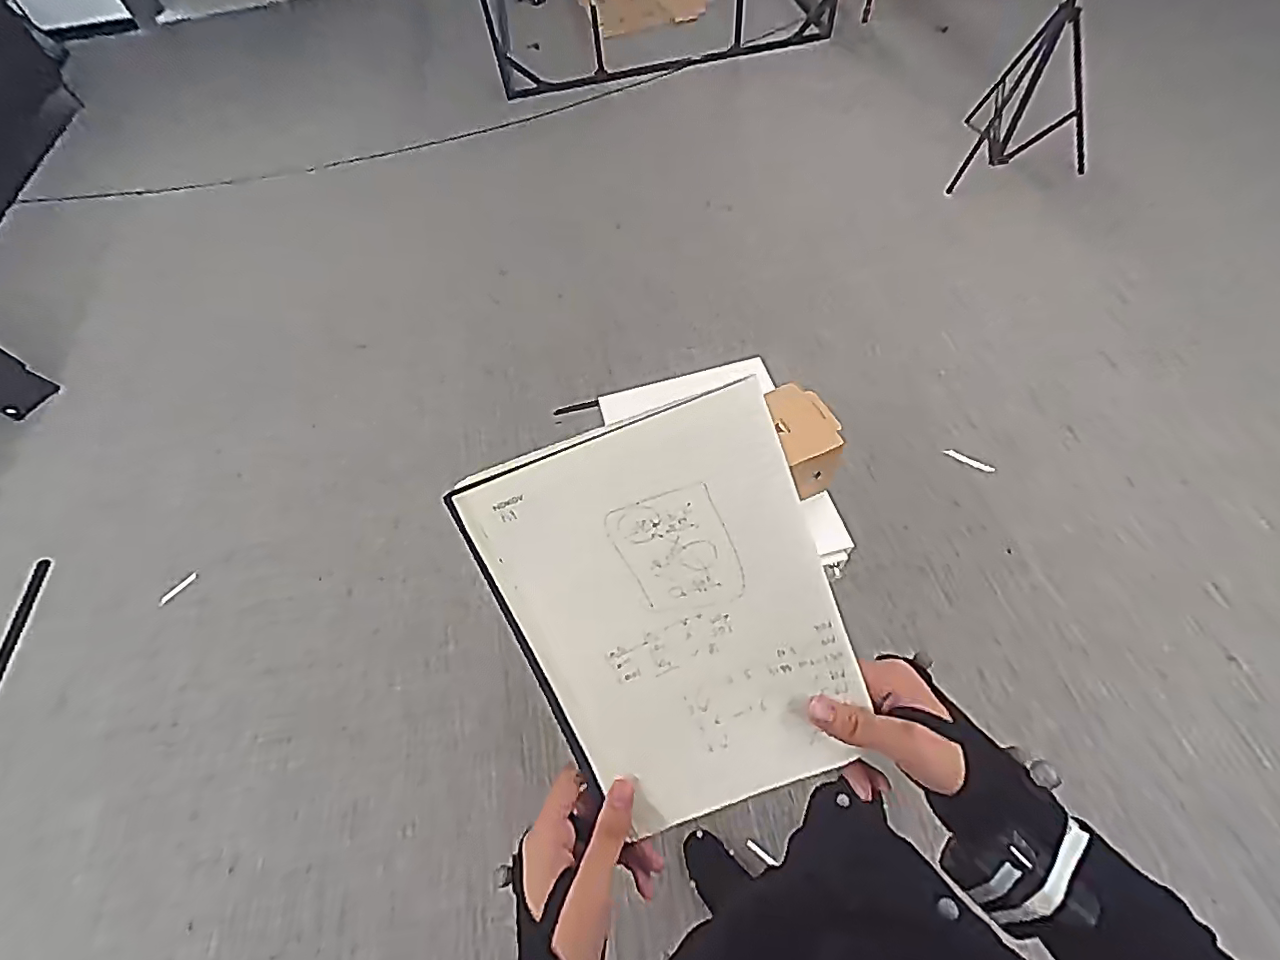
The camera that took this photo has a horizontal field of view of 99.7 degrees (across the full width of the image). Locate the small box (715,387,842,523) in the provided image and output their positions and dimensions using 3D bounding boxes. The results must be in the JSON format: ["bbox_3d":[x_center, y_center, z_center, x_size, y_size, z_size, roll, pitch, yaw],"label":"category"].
[{"bbox_3d":[0.255,-0.044,1.049,0.179,0.176,0.168,-23,59,-7],"label":"small box"}]
